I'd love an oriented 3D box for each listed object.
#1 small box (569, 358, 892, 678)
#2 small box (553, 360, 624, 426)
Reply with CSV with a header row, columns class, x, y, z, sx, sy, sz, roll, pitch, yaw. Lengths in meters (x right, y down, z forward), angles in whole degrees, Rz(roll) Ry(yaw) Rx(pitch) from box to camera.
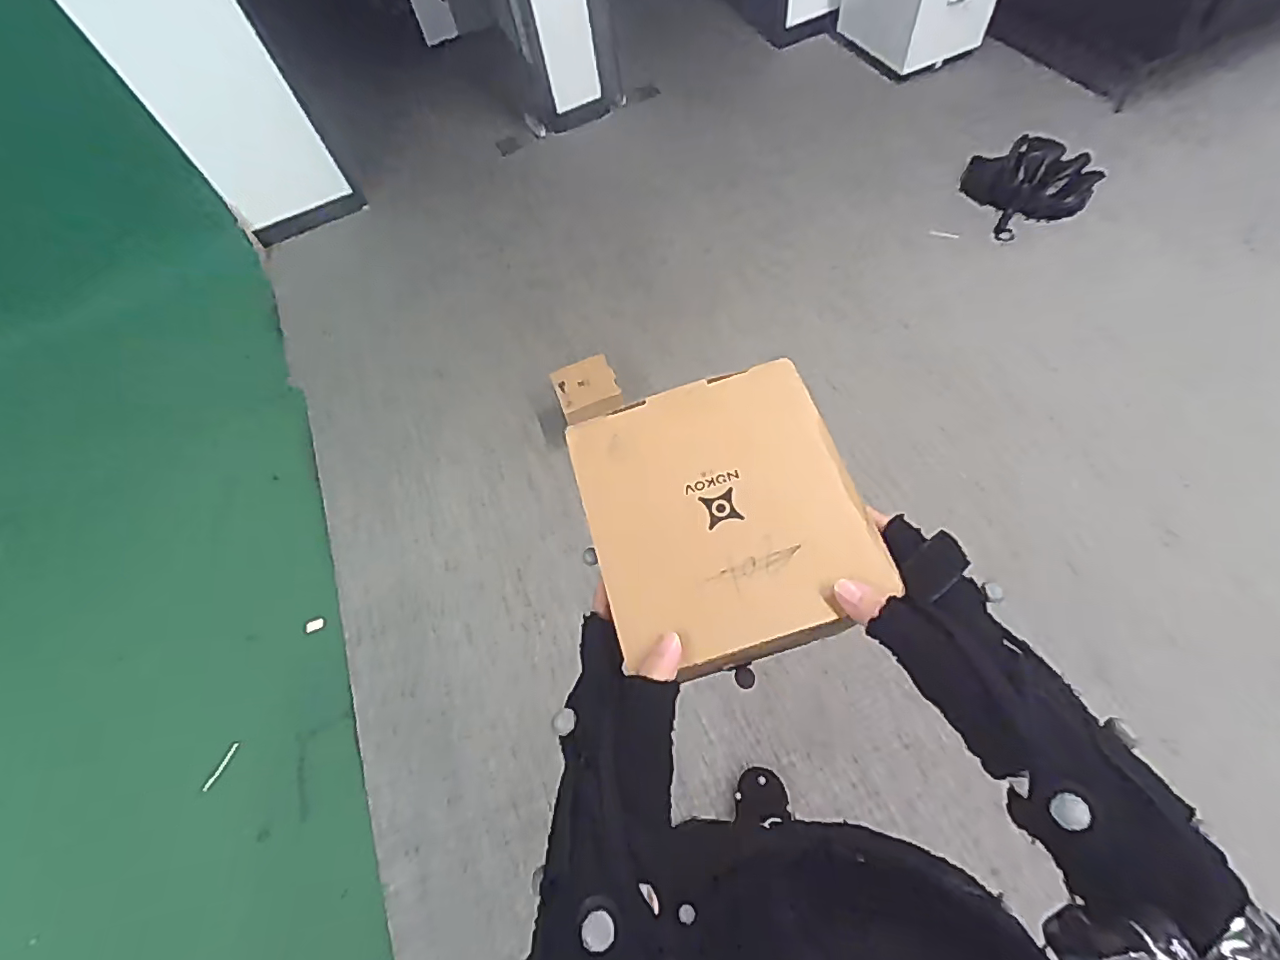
class,x,y,z,sx,sy,sz,roll,pitch,yaw
small box,0.057,0.042,0.422,0.168,0.176,0.179,-18,67,0
small box,-0.150,-0.233,1.664,0.179,0.176,0.168,-20,60,-4
